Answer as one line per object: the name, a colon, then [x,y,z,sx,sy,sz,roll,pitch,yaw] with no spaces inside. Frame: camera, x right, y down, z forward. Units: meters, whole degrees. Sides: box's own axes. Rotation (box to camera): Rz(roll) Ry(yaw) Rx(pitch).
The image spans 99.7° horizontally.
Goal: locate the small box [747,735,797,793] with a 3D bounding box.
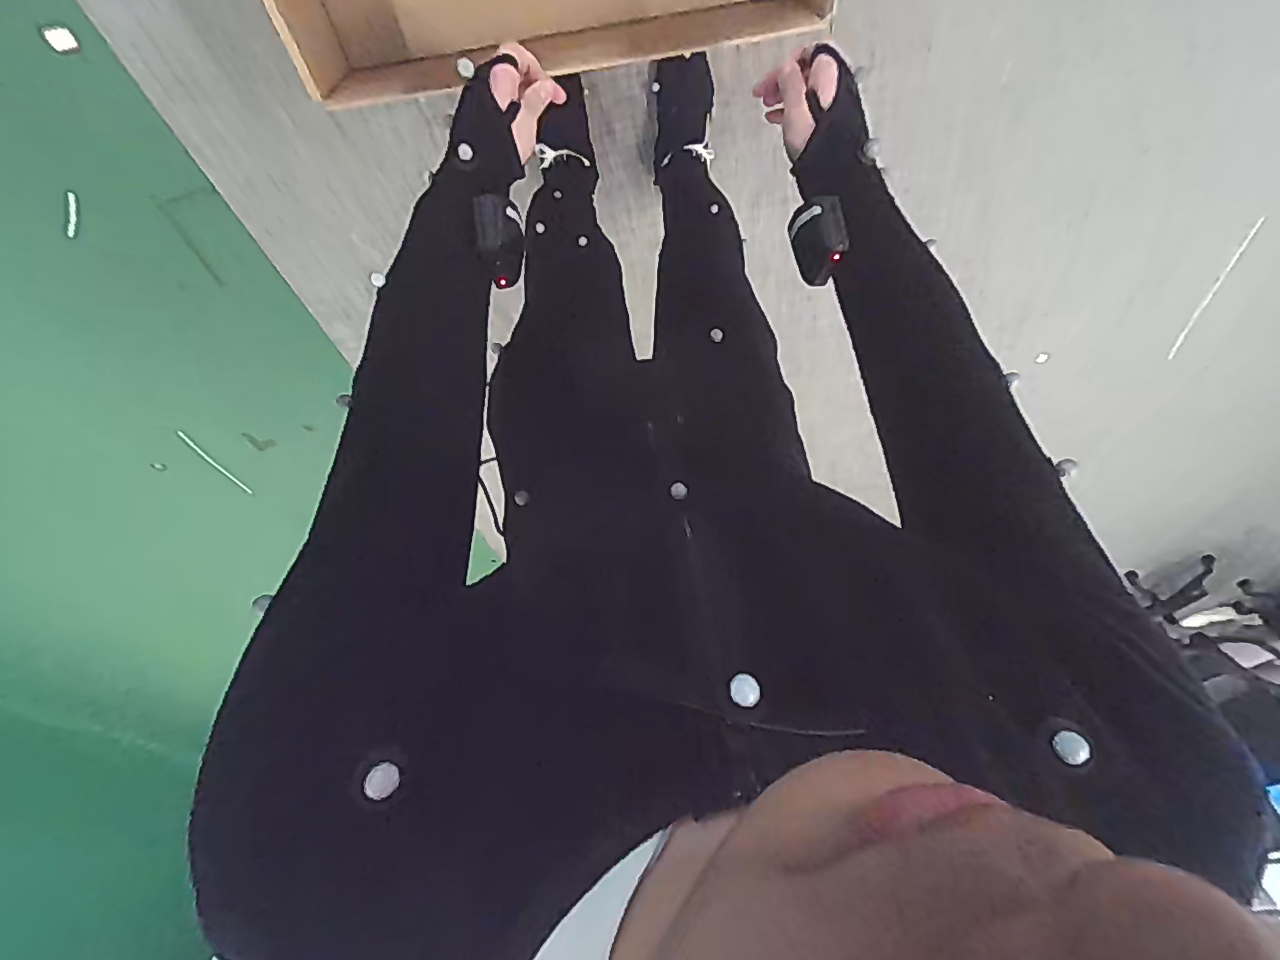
small box: [0.533,1.146,2.189,0.168,0.176,0.179,-12,140,8]
